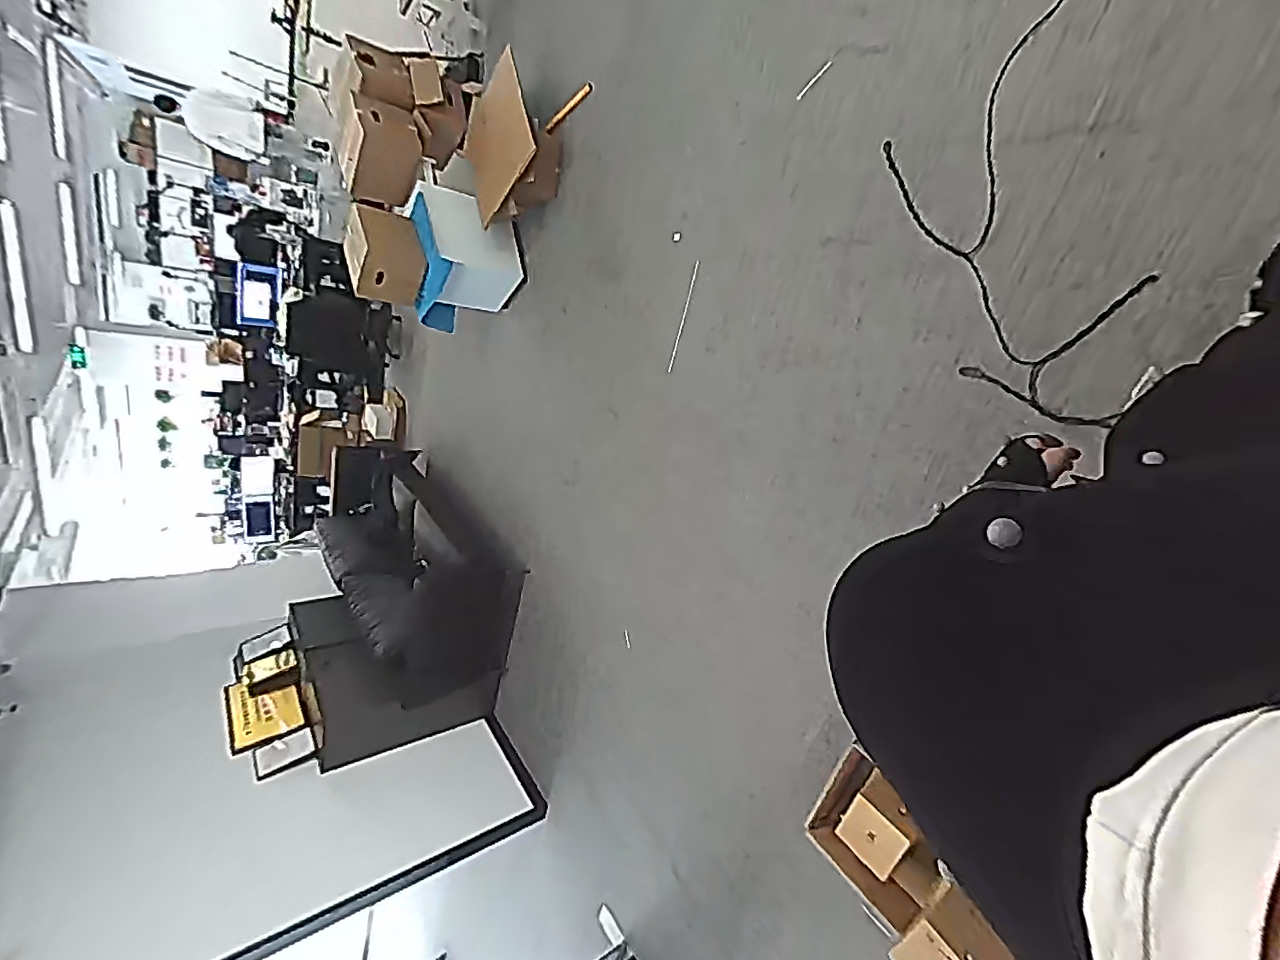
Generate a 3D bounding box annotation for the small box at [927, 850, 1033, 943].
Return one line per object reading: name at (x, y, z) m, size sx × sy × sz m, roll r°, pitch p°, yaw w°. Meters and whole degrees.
small box at (0.884, 1.120, 1.408) m, size 0.168 × 0.176 × 0.179 m, roll 36°, pitch 118°, yaw 44°

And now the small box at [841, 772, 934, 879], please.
small box at (0.730, 1.003, 1.586) m, size 0.168 × 0.176 × 0.179 m, roll 35°, pitch 118°, yaw 42°

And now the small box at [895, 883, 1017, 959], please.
small box at (0.762, 1.130, 1.300) m, size 0.168 × 0.176 × 0.179 m, roll 43°, pitch 124°, yaw 40°
